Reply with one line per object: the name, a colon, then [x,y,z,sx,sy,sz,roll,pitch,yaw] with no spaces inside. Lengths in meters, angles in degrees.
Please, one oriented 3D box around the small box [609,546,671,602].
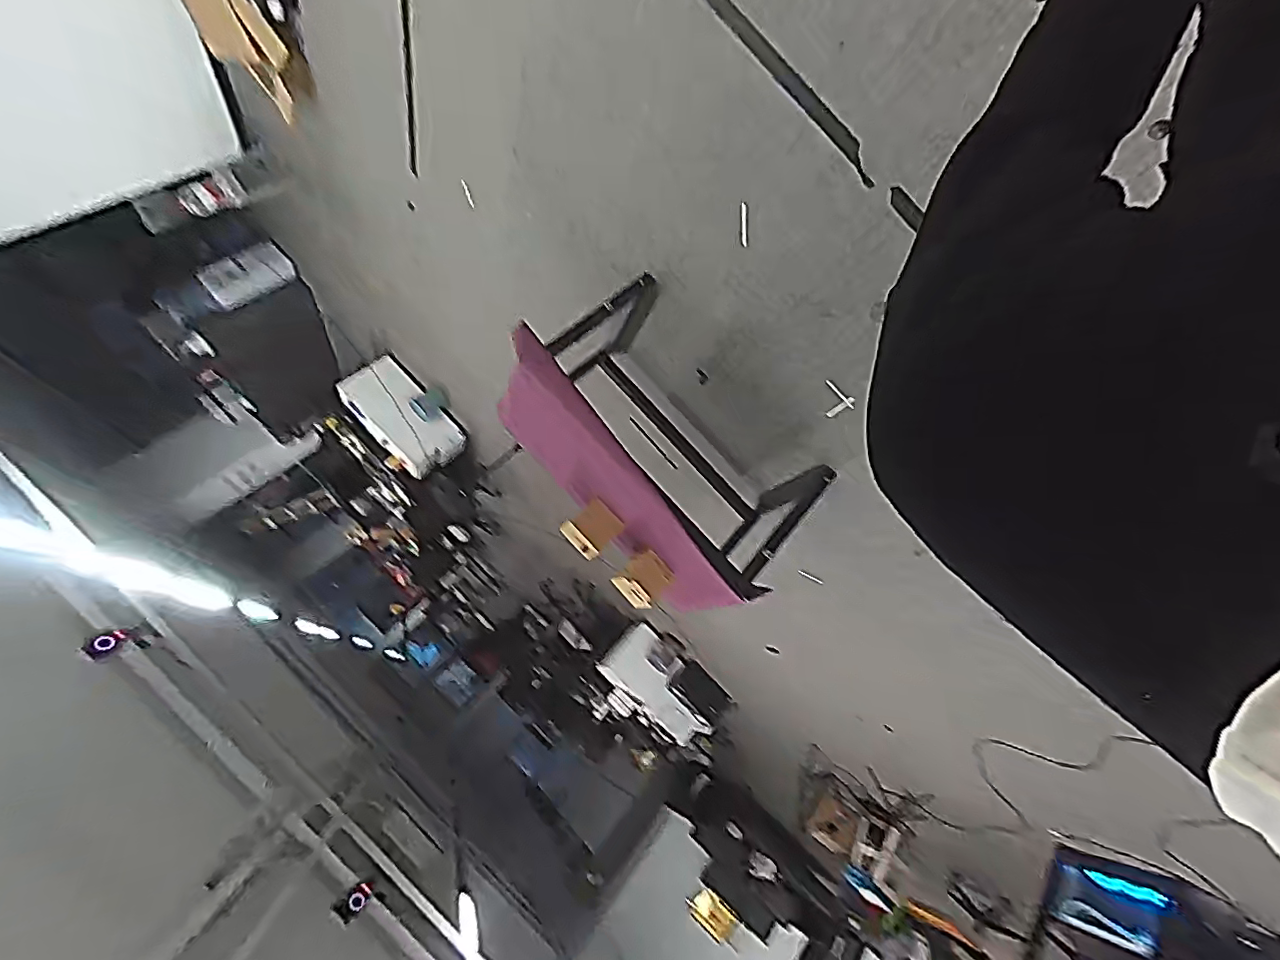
small box: [0.006,0.395,2.278,0.168,0.176,0.179,50,153,-7]
